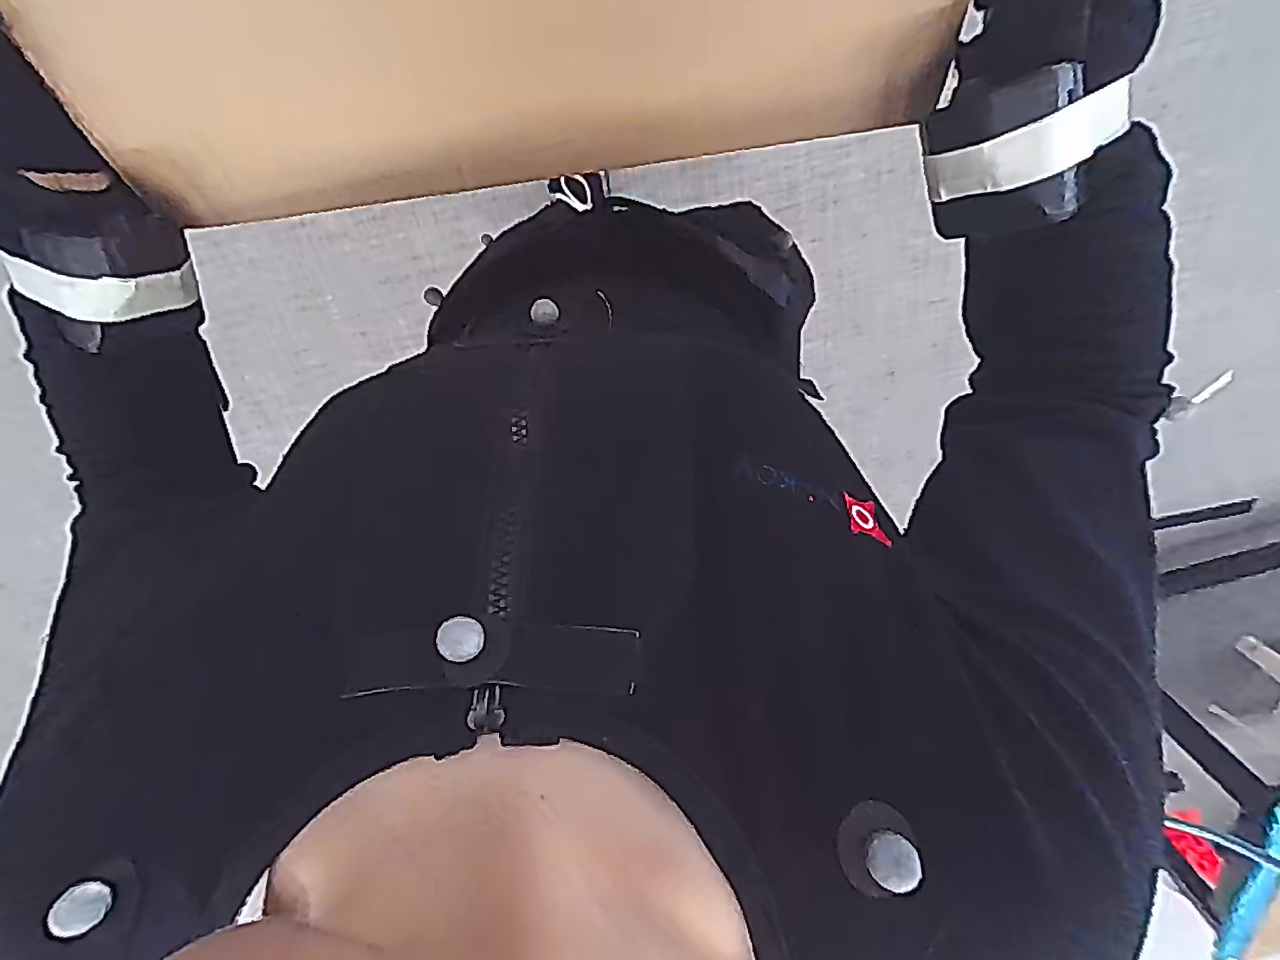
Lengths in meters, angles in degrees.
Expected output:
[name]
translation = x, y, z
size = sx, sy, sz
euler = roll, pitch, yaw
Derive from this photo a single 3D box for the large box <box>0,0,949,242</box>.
[large box]
translation = -0.077, -0.368, 0.252
size = 0.408, 0.320, 0.320
euler = -7, 147, 4
